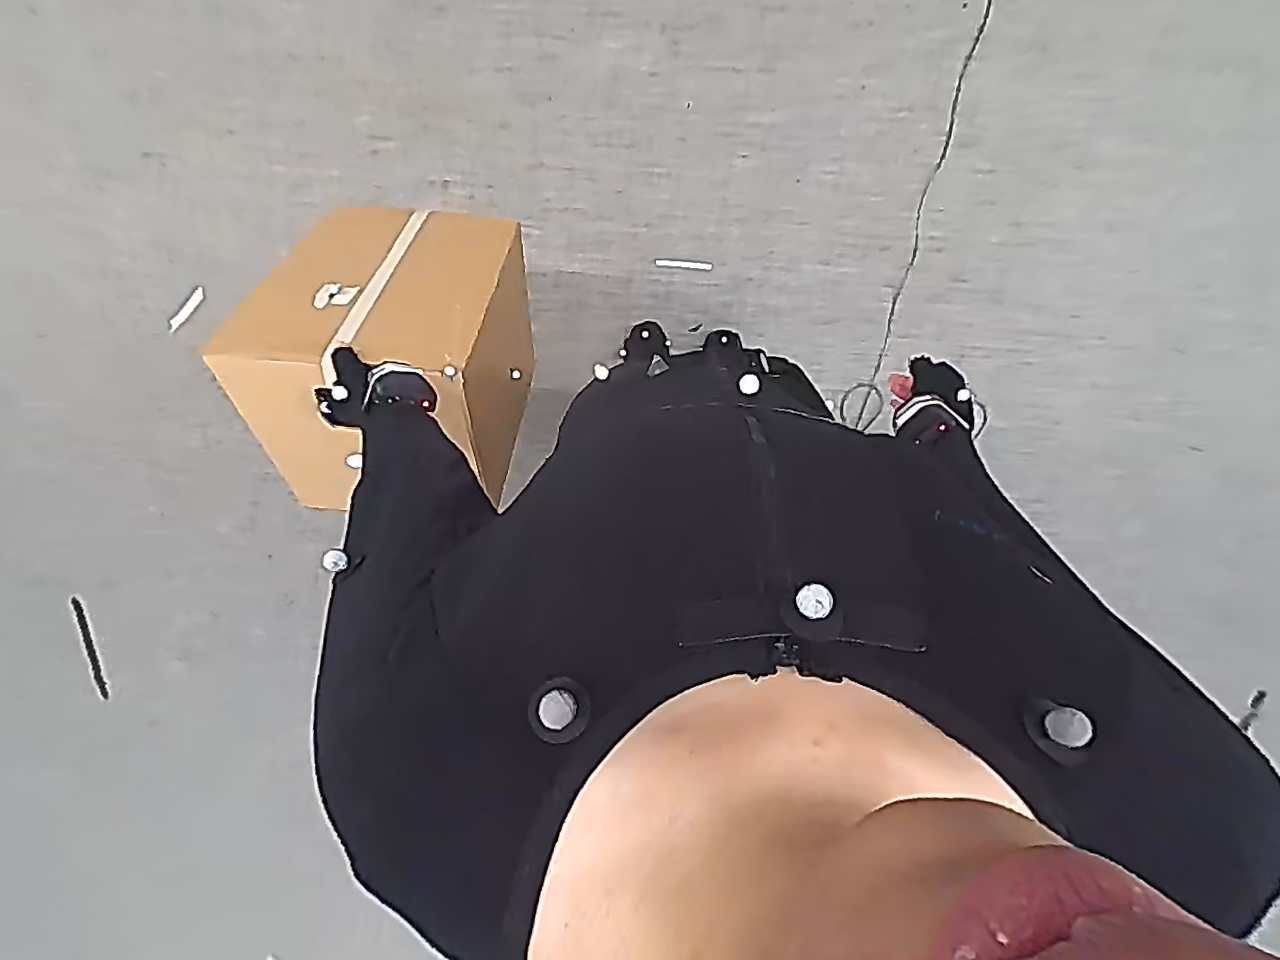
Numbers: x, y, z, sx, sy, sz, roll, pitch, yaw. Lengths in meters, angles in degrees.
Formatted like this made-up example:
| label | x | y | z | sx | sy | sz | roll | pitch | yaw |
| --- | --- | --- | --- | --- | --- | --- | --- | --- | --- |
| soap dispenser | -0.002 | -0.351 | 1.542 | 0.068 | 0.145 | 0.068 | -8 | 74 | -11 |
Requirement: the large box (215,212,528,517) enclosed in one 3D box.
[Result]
| label | x | y | z | sx | sy | sz | roll | pitch | yaw |
| --- | --- | --- | --- | --- | --- | --- | --- | --- | --- |
| large box | -0.382 | -0.194 | 0.911 | 0.320 | 0.408 | 0.320 | 4 | 142 | -1 |
